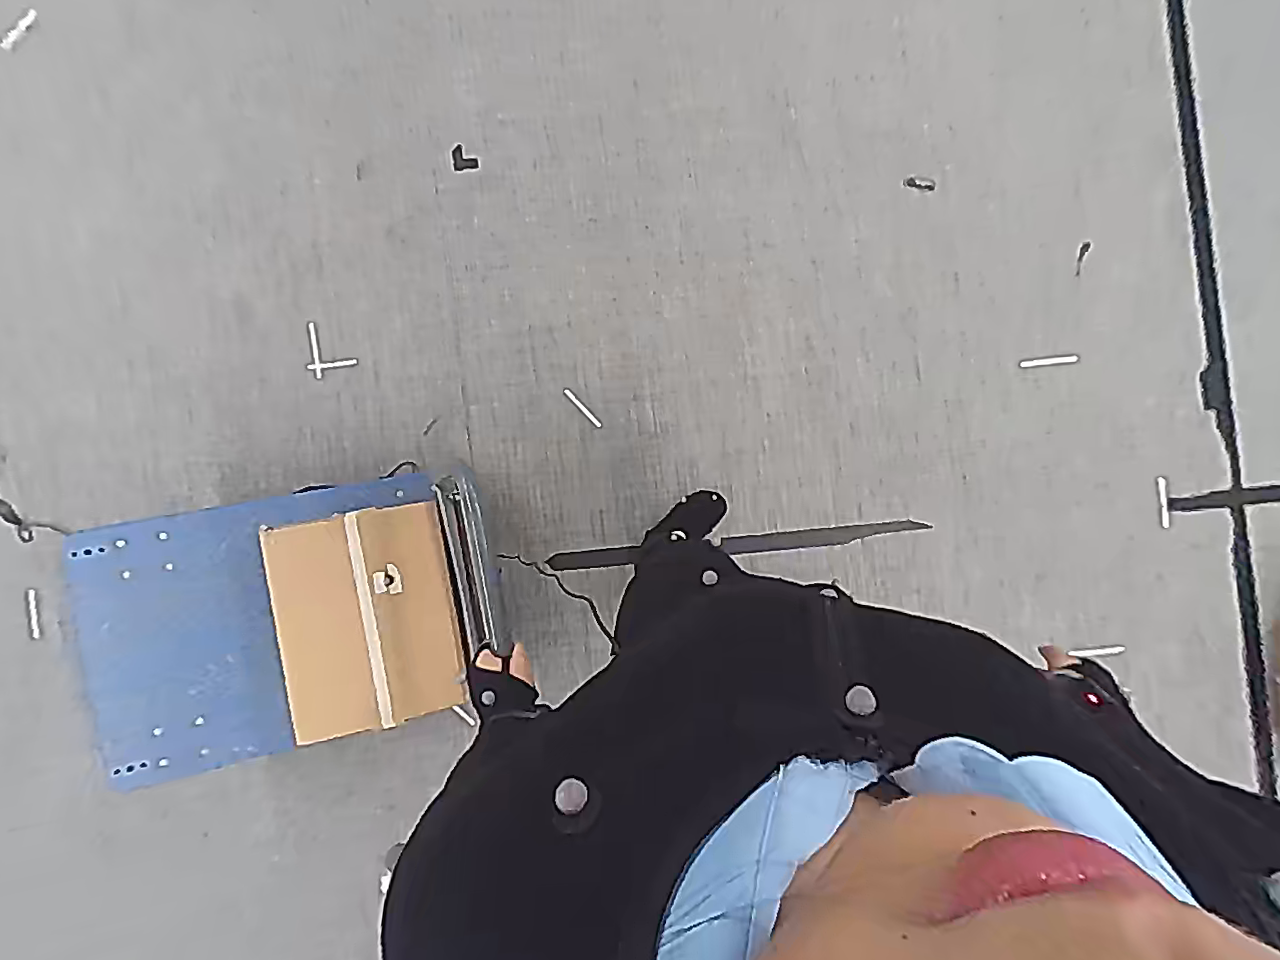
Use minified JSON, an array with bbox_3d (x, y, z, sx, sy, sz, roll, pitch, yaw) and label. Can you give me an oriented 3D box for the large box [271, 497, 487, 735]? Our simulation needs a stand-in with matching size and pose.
[{"bbox_3d":[-0.534,0.263,1.182,0.320,0.320,0.408,-11,90,-14],"label":"large box"}]
